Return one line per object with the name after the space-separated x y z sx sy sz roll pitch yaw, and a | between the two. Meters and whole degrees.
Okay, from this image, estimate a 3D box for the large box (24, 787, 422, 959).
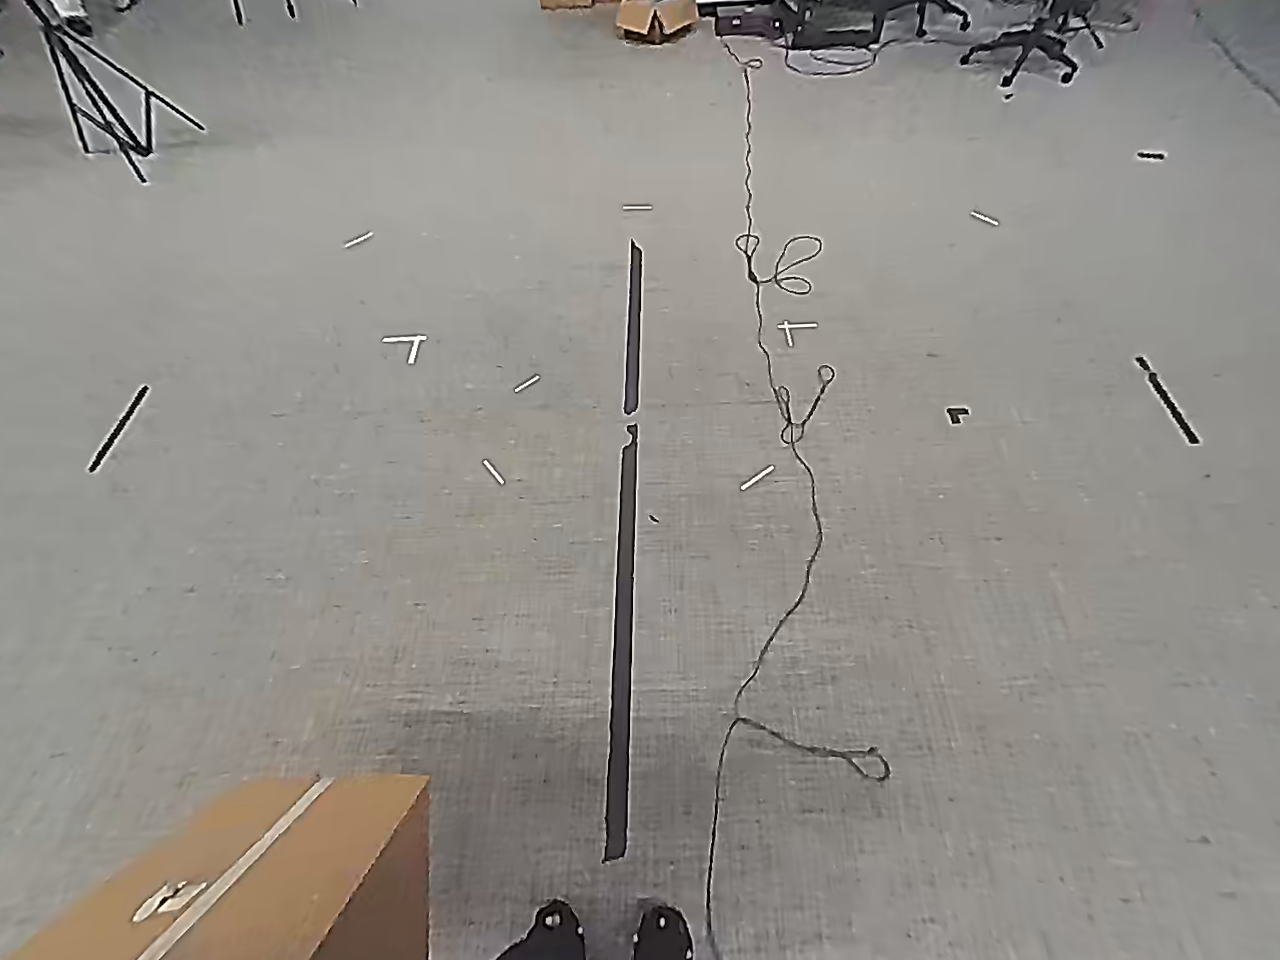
-0.498 0.653 0.685 0.320 0.408 0.320 -1 89 -2 | large box
